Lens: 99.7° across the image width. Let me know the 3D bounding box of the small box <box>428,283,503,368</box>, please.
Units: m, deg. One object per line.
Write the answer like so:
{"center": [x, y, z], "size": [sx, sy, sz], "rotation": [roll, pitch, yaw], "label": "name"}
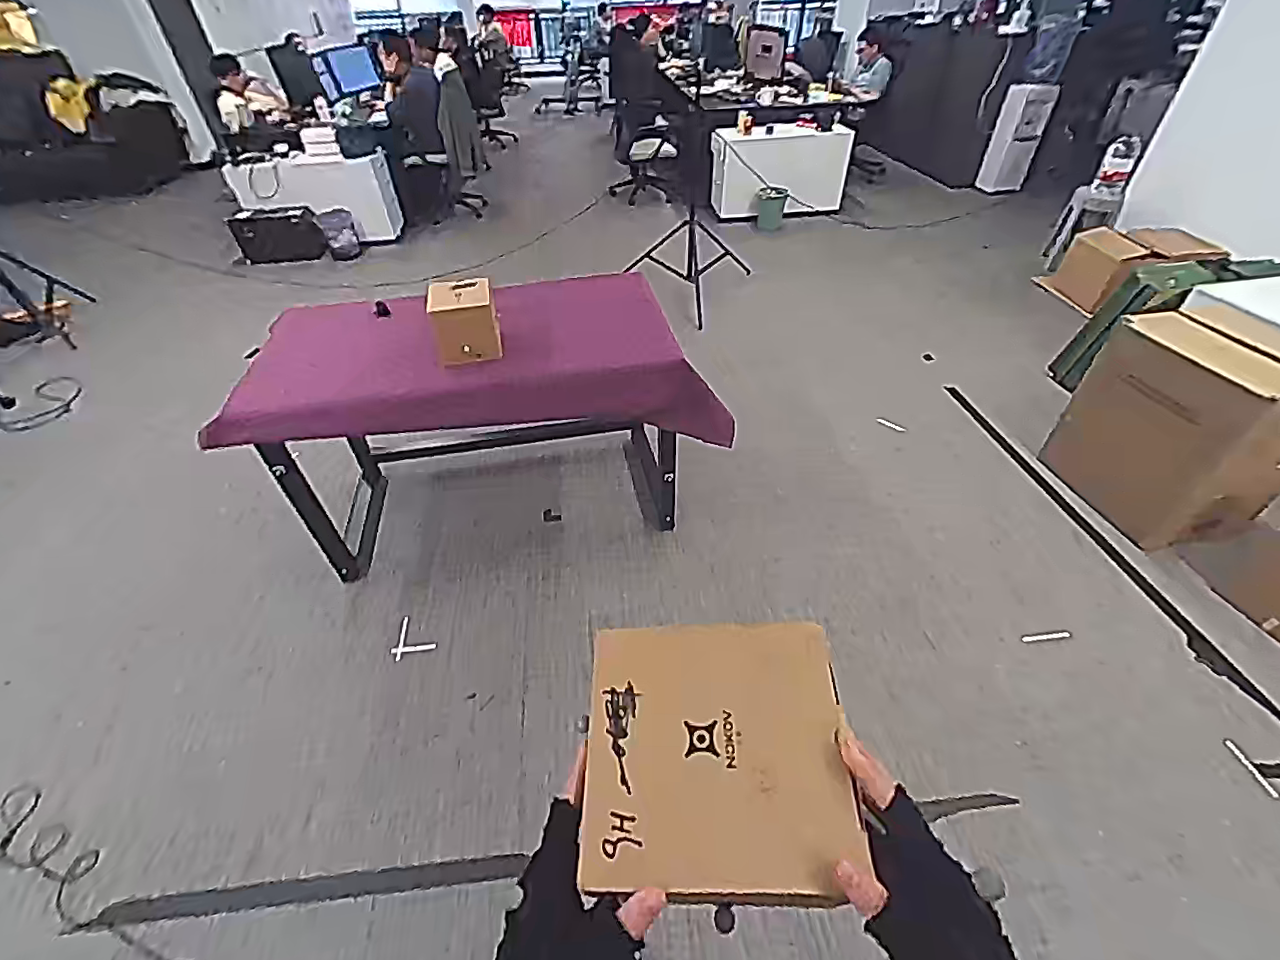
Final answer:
{"center": [-0.489, -0.438, 1.532], "size": [0.168, 0.176, 0.179], "rotation": [-10, 44, -9], "label": "small box"}
